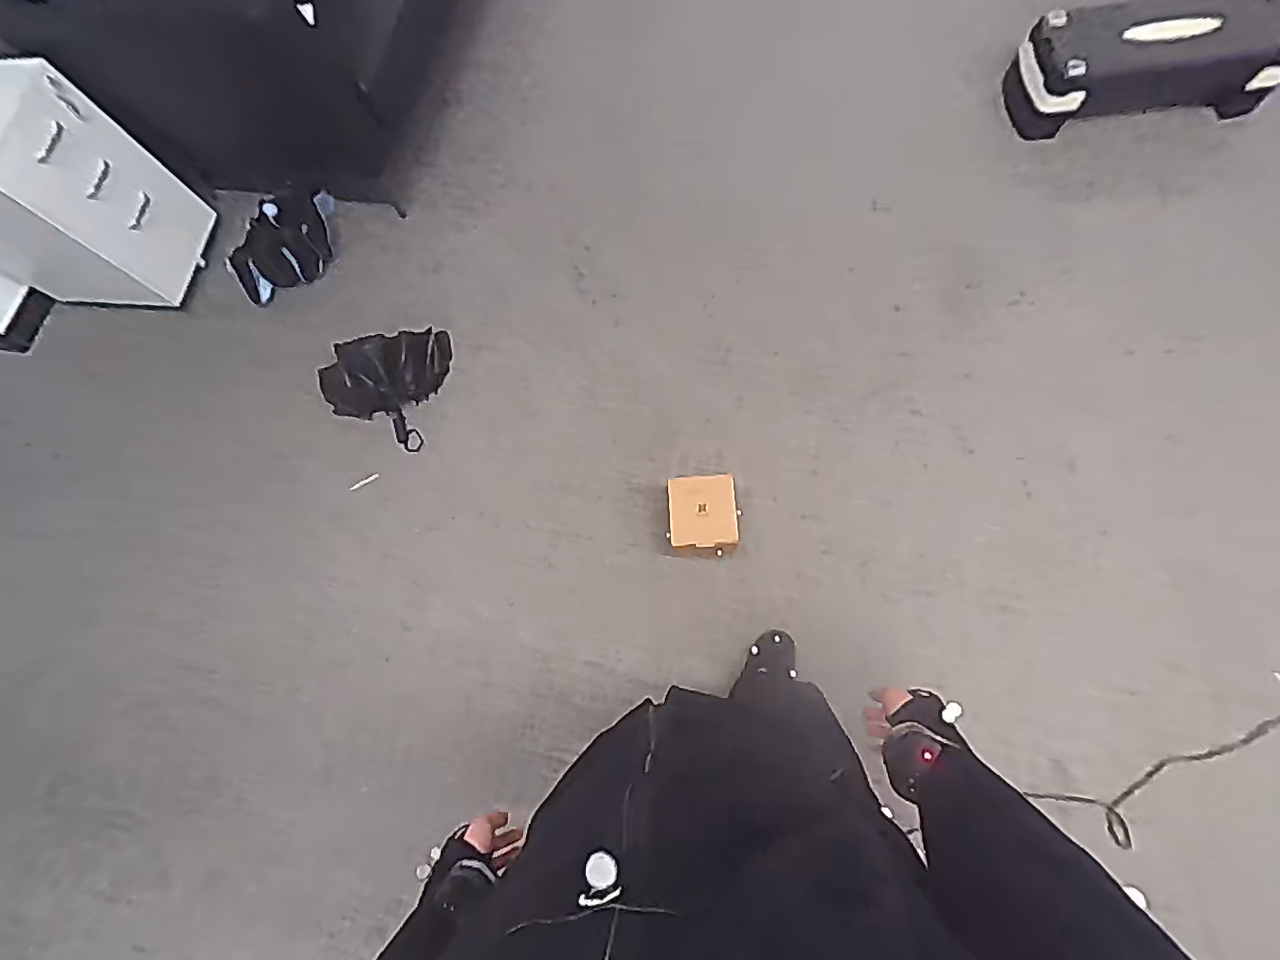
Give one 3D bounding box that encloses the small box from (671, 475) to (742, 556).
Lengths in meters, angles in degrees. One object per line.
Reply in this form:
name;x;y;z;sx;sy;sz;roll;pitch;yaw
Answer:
small box;0.173;0.099;1.404;0.168;0.176;0.179;-5;71;6
